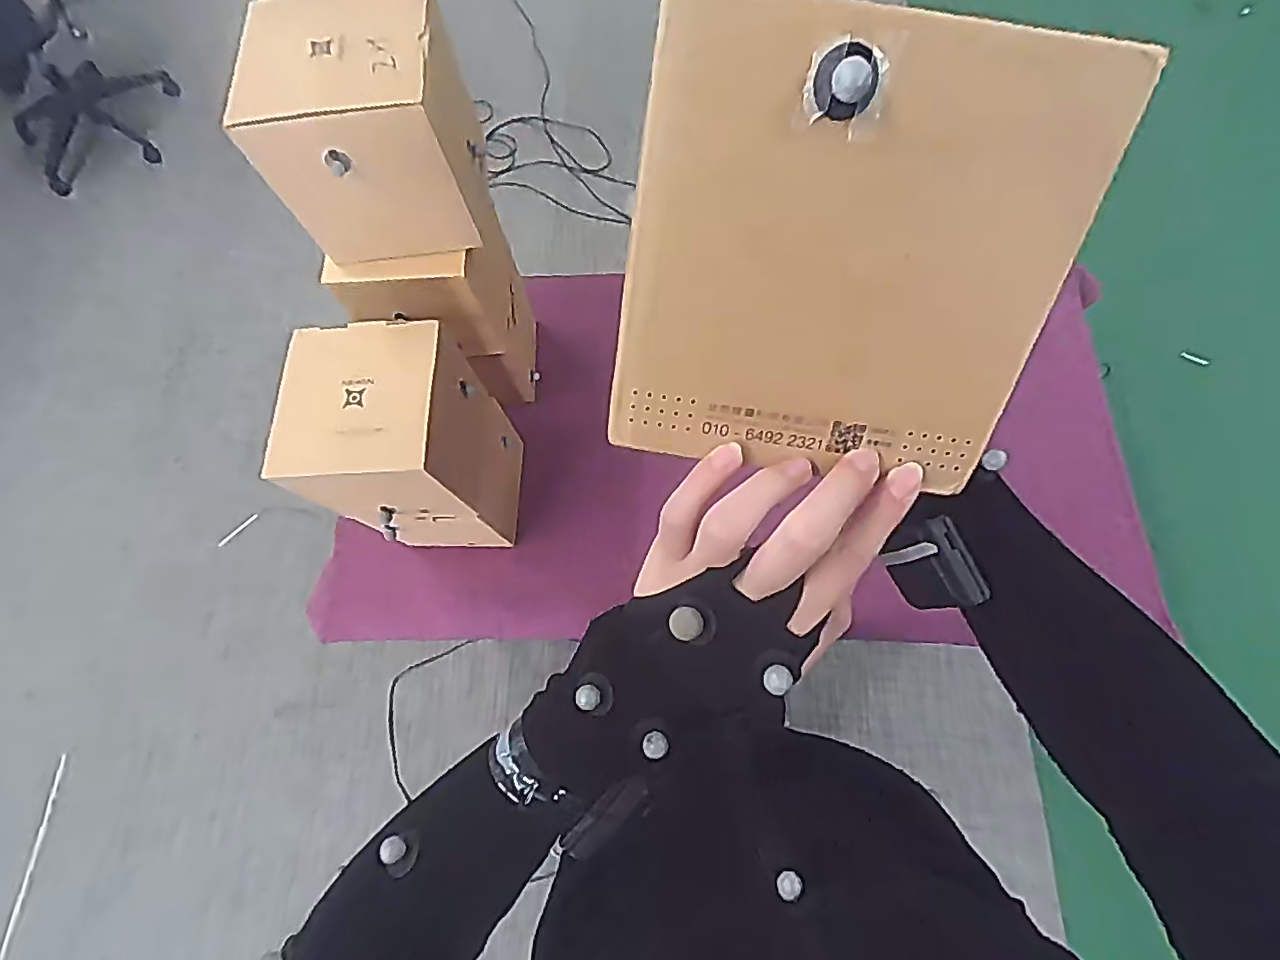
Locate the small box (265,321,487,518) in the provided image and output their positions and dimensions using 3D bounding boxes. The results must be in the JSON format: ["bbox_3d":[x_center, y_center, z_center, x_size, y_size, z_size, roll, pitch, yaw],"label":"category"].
[{"bbox_3d":[-0.287,-0.063,0.634,0.168,0.176,0.179,-2,71,2],"label":"small box"}]

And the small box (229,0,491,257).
[{"bbox_3d":[-0.267,-0.355,0.560,0.179,0.176,0.168,-5,71,1],"label":"small box"}]

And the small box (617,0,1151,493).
[{"bbox_3d":[0.084,-0.113,0.288,0.168,0.179,0.176,9,117,0],"label":"small box"}]

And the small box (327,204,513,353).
[{"bbox_3d":[-0.271,-0.278,0.707,0.168,0.176,0.179,-3,71,2],"label":"small box"}]
